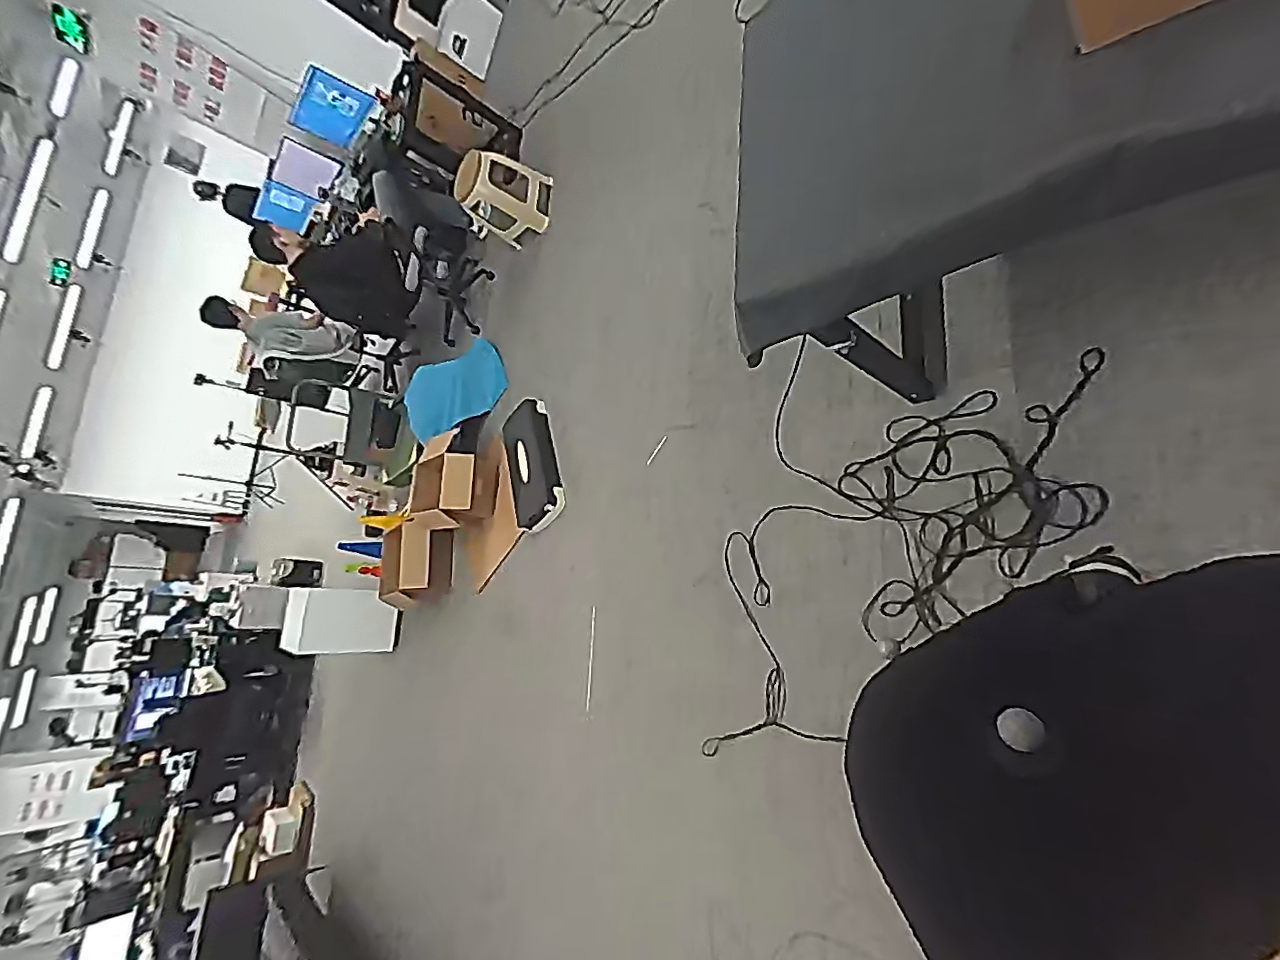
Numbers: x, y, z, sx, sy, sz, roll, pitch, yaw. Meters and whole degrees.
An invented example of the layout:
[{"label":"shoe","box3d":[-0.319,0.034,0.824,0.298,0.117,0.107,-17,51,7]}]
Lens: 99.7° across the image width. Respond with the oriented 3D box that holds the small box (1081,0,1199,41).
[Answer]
[{"label":"small box","box3d":[0.528,-0.582,0.506,0.179,0.176,0.168,4,82,50]}]
